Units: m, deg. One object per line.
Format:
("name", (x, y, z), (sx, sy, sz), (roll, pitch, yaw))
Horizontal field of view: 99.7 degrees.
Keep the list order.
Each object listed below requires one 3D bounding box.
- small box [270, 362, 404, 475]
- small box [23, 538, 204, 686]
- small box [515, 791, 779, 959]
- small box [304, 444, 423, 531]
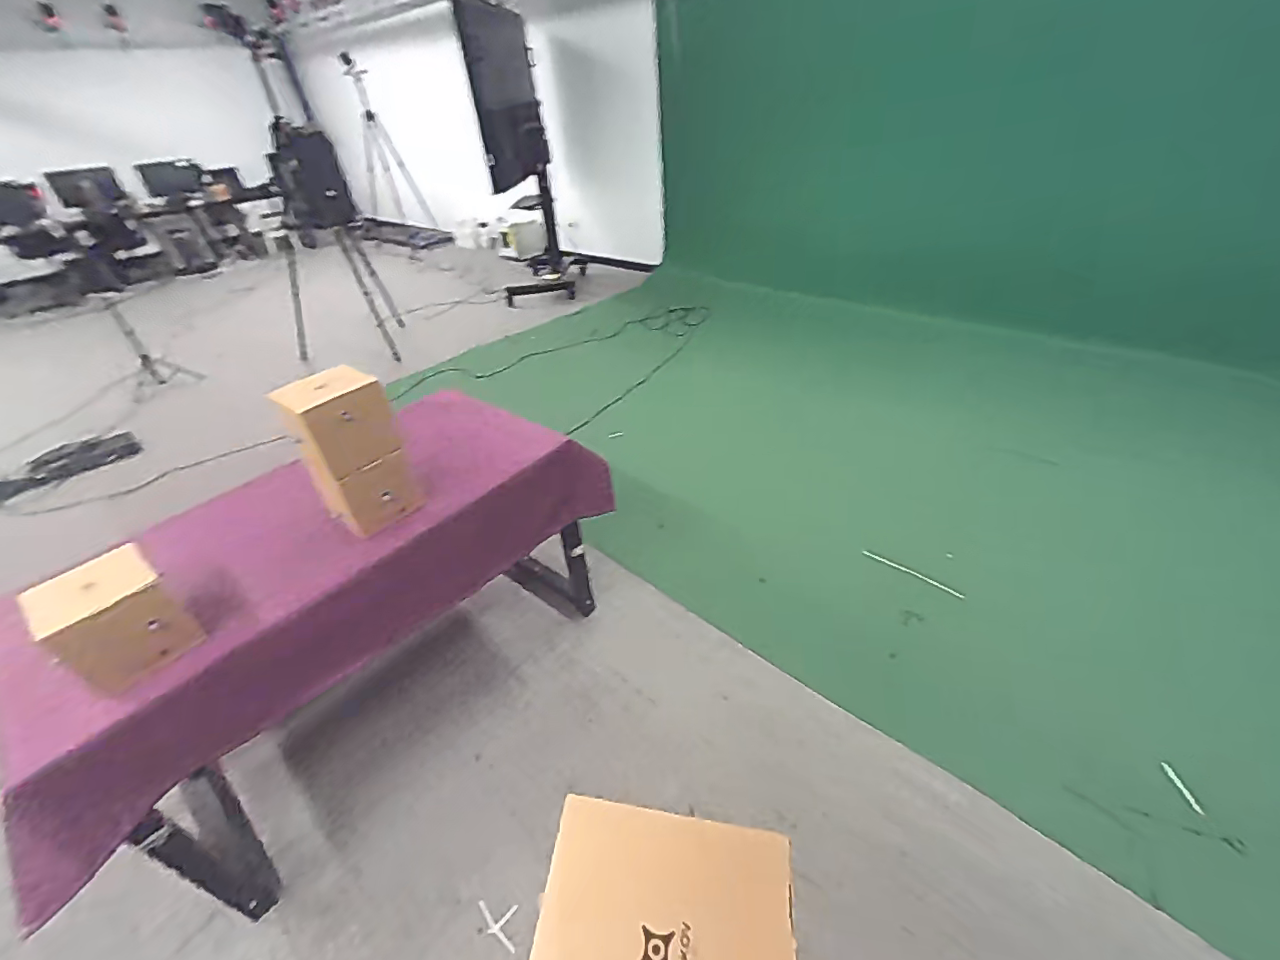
("small box", (-0.658, -0.136, 1.189), (0.168, 0.176, 0.179), (24, 45, 33))
("small box", (-0.950, 0.243, 0.988), (0.179, 0.176, 0.168), (22, 43, 33))
("small box", (0.004, 0.370, 0.420), (0.179, 0.176, 0.168), (8, 45, 4))
("small box", (-0.649, -0.002, 1.287), (0.179, 0.176, 0.168), (25, 45, 33))
